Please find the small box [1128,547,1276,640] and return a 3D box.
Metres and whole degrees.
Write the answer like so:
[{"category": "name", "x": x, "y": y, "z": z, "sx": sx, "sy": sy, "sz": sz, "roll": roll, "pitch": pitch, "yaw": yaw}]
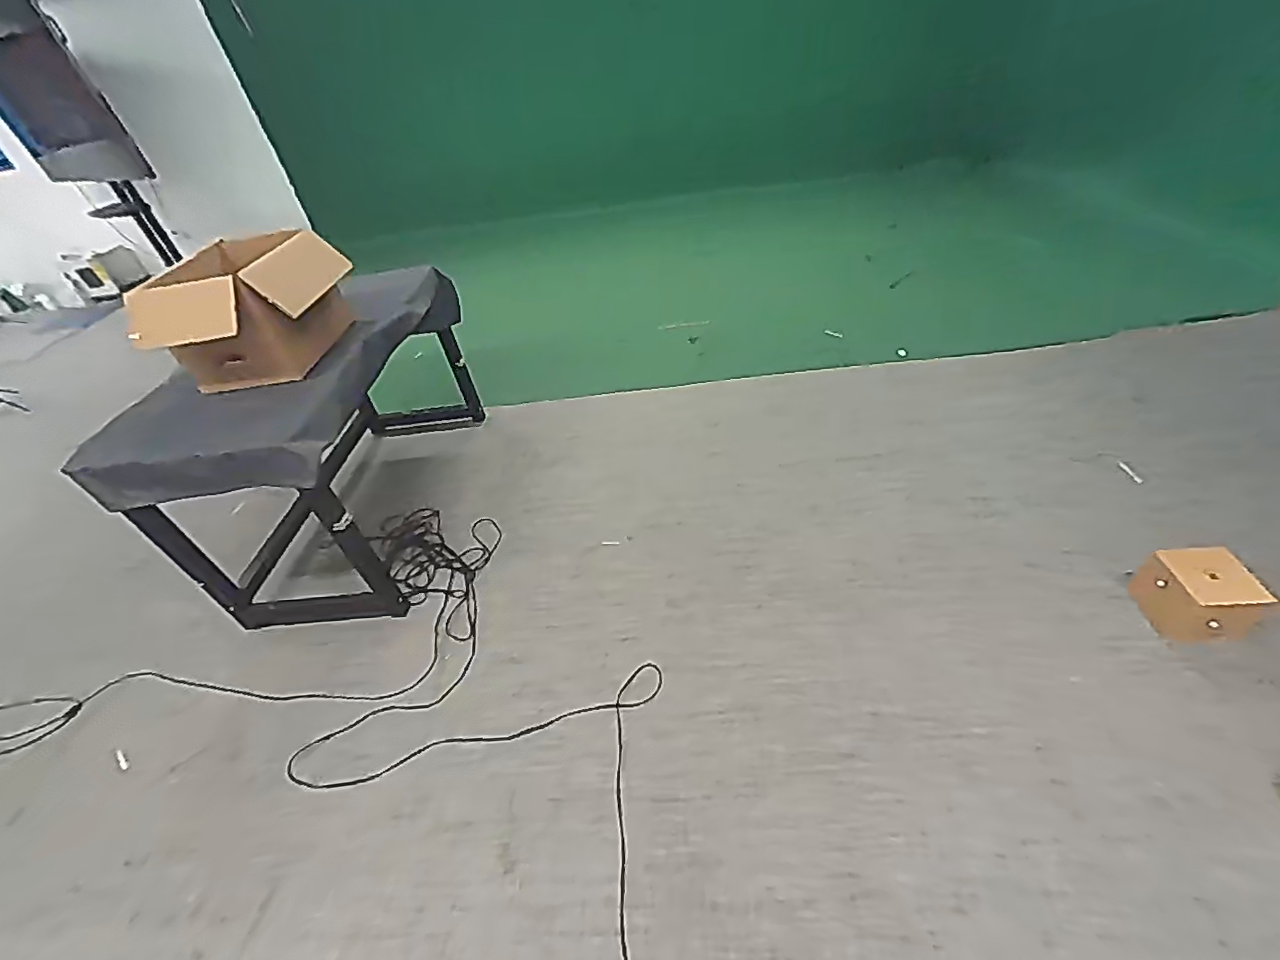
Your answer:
[{"category": "small box", "x": 1.420, "y": 0.294, "z": 1.383, "sx": 0.168, "sy": 0.176, "sz": 0.179, "roll": -4, "pitch": 41, "yaw": 8}]
